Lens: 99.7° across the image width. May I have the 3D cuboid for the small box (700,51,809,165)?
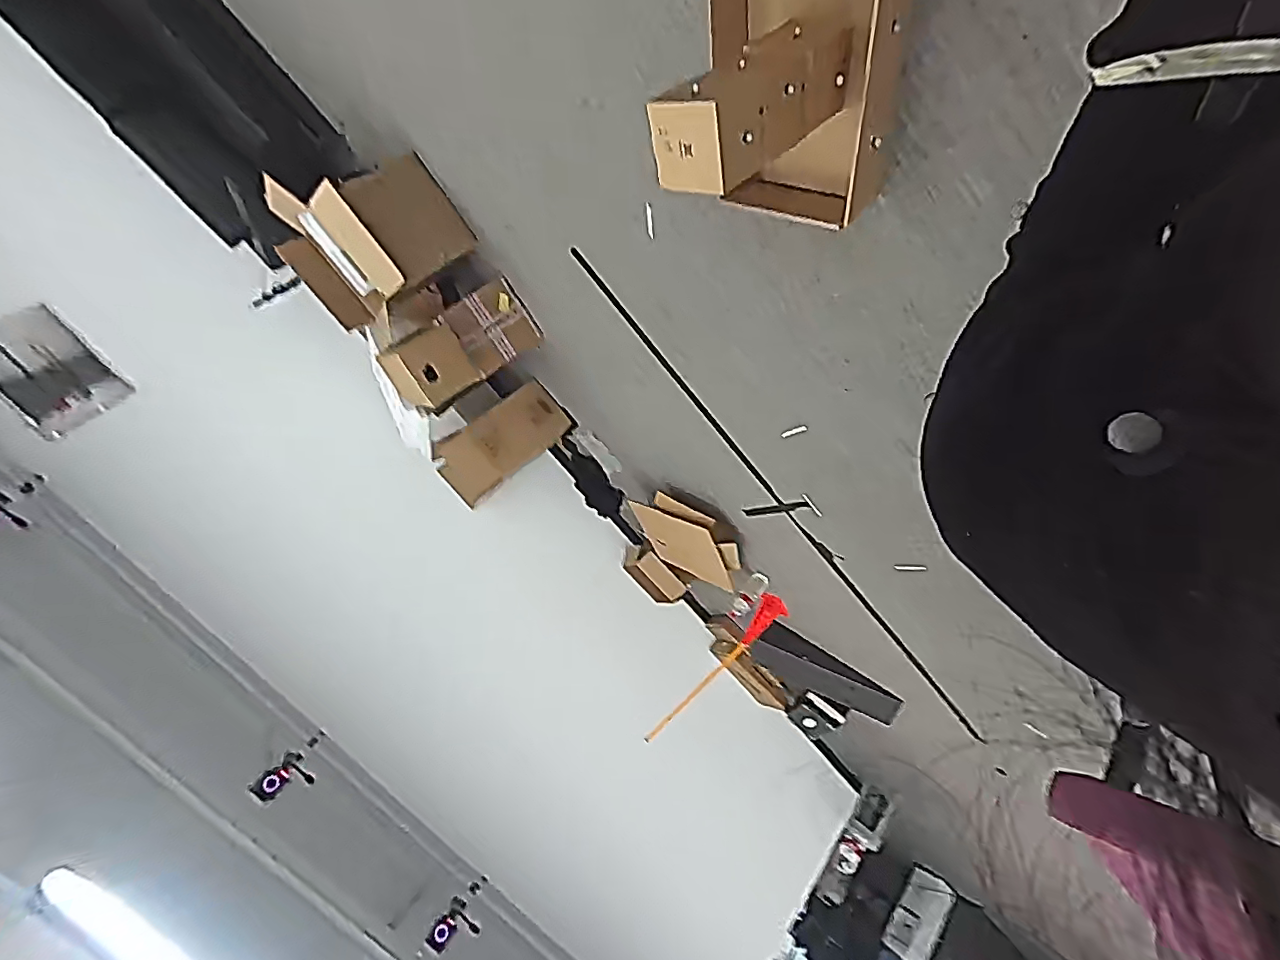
[{"bbox_3d":[0.255,-0.822,1.192,0.179,0.176,0.168,29,151,35],"label":"small box"}]

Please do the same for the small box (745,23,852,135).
[{"bbox_3d":[0.361,-0.930,1.251,0.179,0.176,0.168,30,153,30],"label":"small box"}]

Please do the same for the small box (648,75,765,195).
[{"bbox_3d":[0.148,-0.717,1.122,0.179,0.176,0.168,27,149,34],"label":"small box"}]
